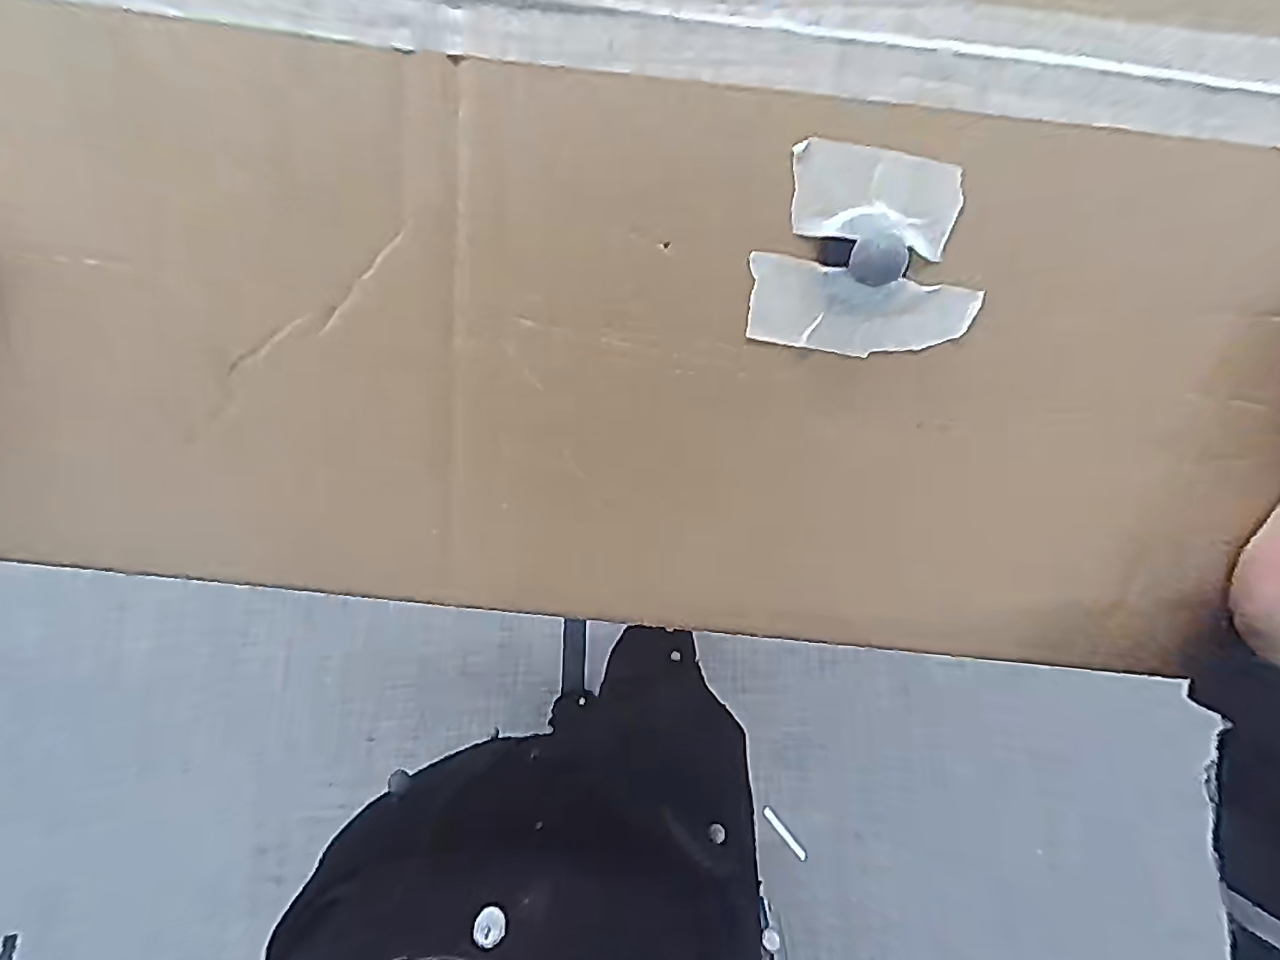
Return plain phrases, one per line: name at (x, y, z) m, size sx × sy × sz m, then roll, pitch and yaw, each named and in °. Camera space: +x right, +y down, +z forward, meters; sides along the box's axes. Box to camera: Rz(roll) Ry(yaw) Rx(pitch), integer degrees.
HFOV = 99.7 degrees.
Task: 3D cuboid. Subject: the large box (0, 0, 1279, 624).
large box at (-0.003, -0.150, 0.285) m, size 0.408 × 0.320 × 0.320 m, roll 5°, pitch 107°, yaw -3°
